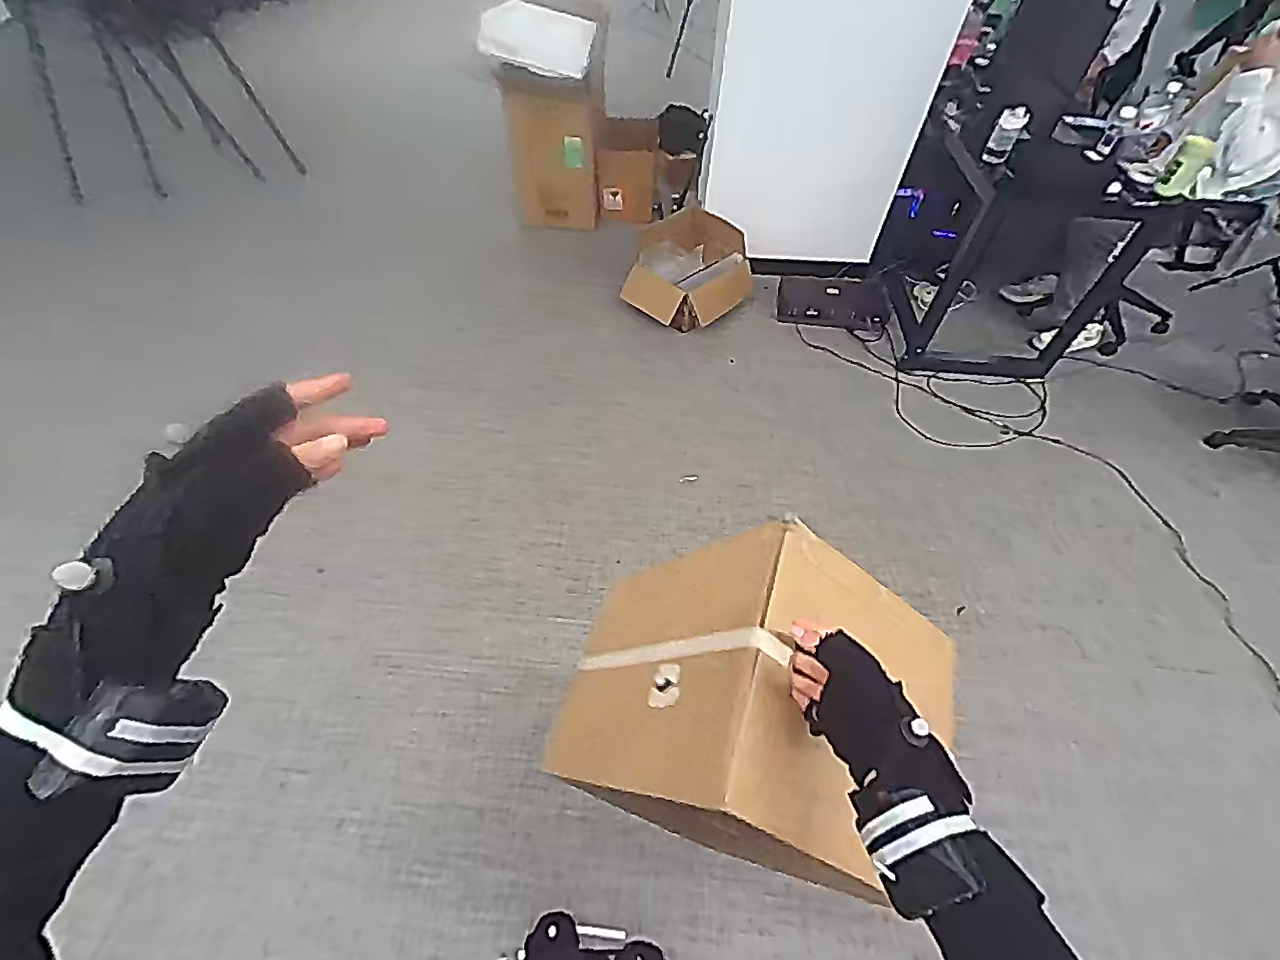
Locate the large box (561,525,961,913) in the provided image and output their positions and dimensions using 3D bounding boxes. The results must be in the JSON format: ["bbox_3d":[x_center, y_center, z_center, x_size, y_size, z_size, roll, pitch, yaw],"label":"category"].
[{"bbox_3d":[0.155,0.318,0.749,0.320,0.408,0.320,34,56,-16],"label":"large box"}]
